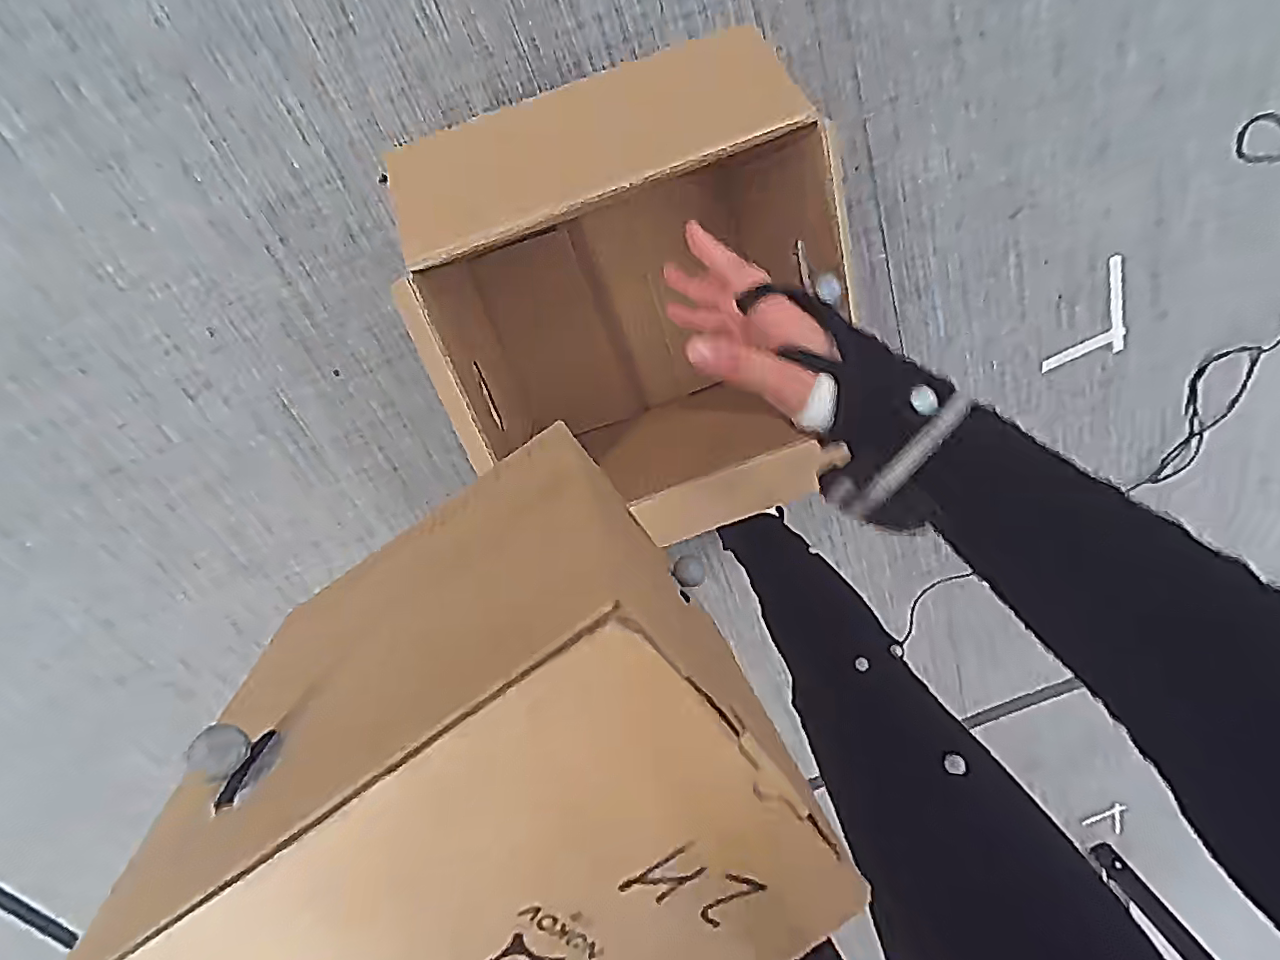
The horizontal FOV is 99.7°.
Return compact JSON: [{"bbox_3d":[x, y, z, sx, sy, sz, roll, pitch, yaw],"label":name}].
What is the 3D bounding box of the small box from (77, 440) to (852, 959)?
[{"bbox_3d":[-0.051,0.110,0.240,0.179,0.176,0.168,-35,115,0],"label":"small box"}]
